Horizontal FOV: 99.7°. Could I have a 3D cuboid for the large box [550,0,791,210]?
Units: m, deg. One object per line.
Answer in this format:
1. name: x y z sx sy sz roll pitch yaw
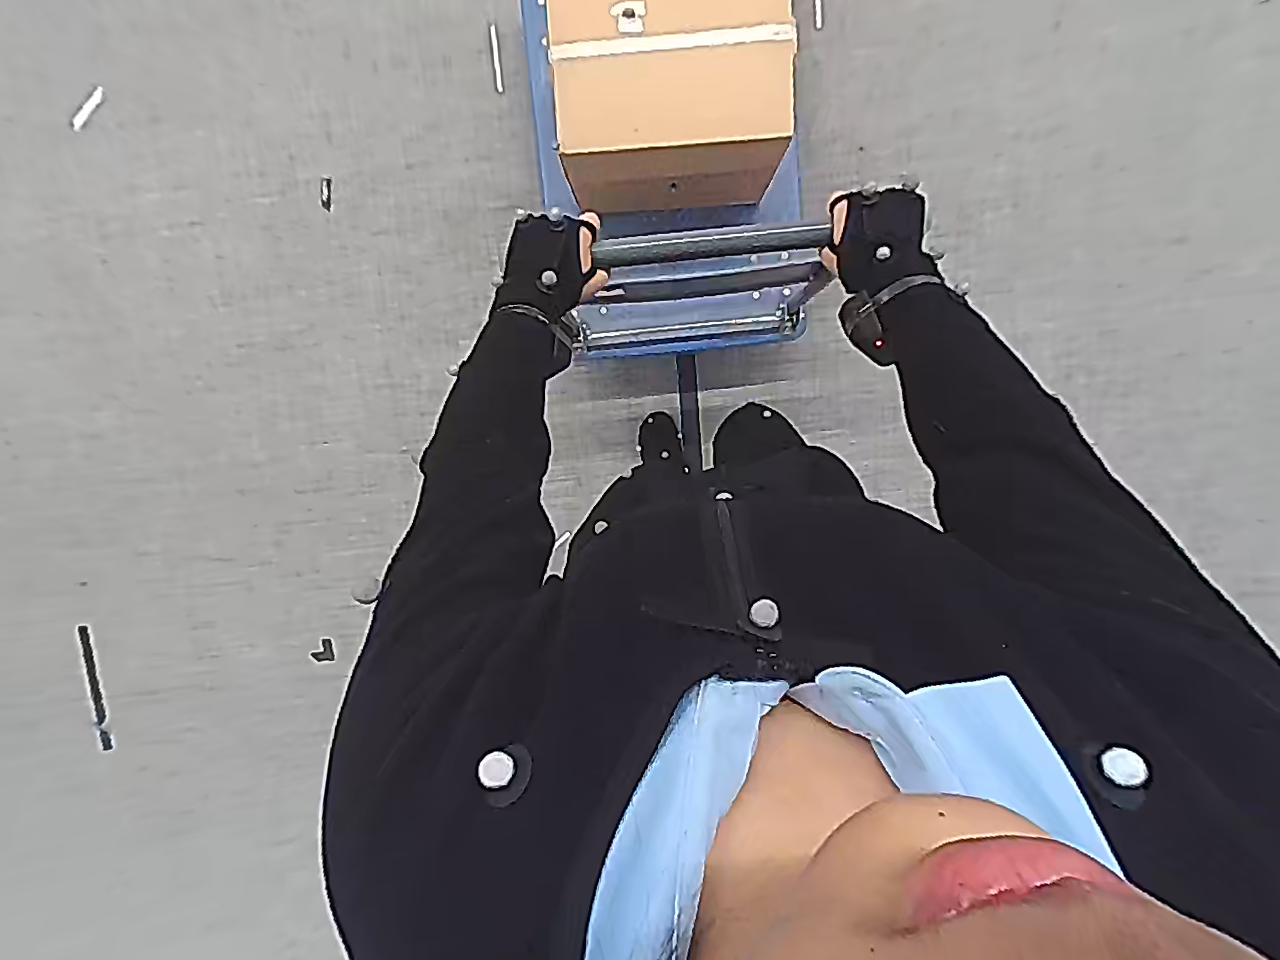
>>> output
1. large box: 0.059 -0.755 1.061 0.408 0.320 0.320 -3 97 3
